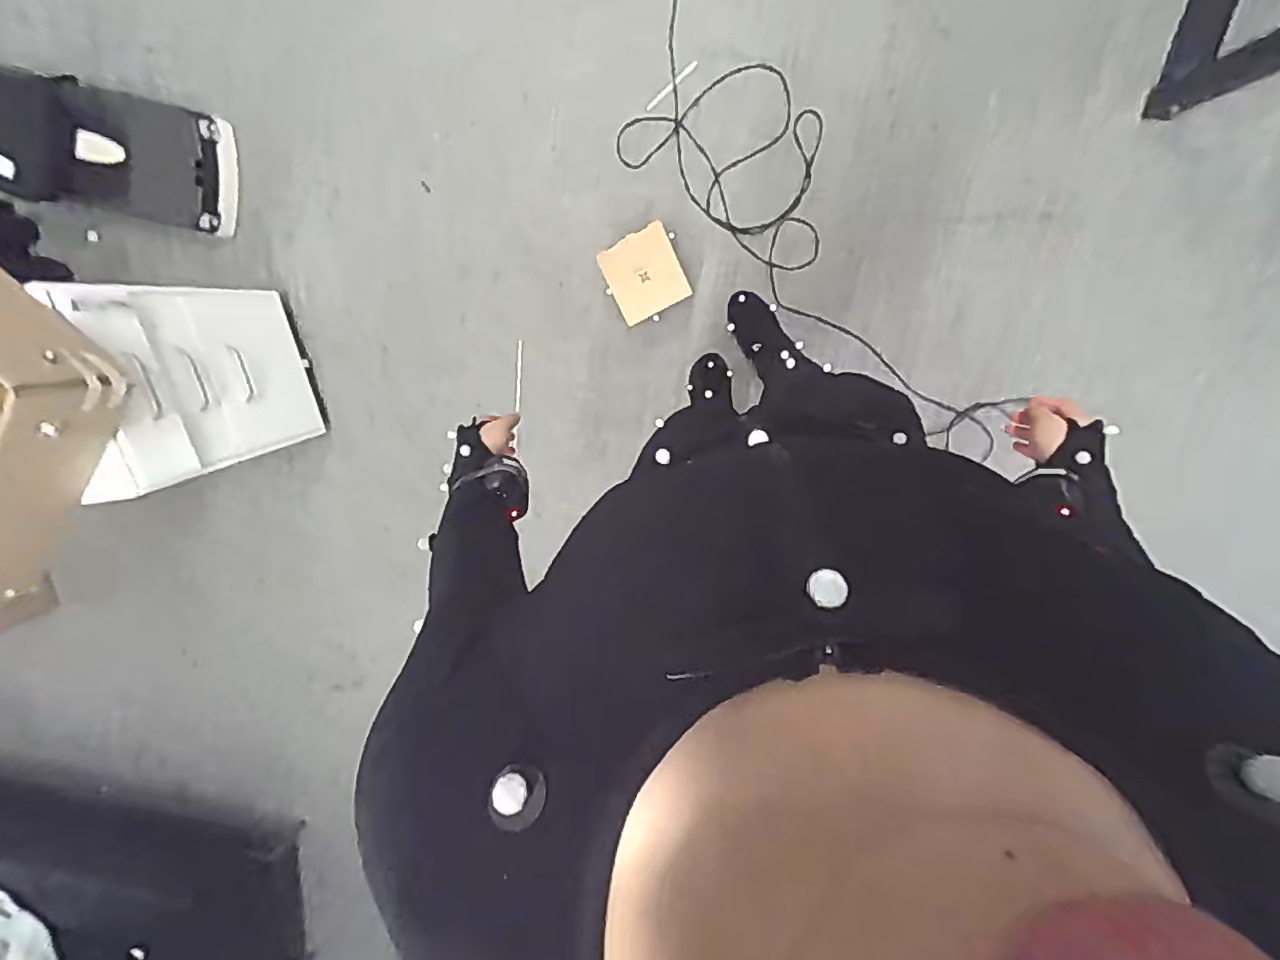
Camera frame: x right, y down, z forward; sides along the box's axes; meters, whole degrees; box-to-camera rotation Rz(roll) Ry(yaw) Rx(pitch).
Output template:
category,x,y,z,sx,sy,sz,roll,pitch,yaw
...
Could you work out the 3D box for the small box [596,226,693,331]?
category,x,y,z,sx,sy,sz,roll,pitch,yaw
small box,0.020,-0.478,1.296,0.168,0.176,0.179,-25,102,14
